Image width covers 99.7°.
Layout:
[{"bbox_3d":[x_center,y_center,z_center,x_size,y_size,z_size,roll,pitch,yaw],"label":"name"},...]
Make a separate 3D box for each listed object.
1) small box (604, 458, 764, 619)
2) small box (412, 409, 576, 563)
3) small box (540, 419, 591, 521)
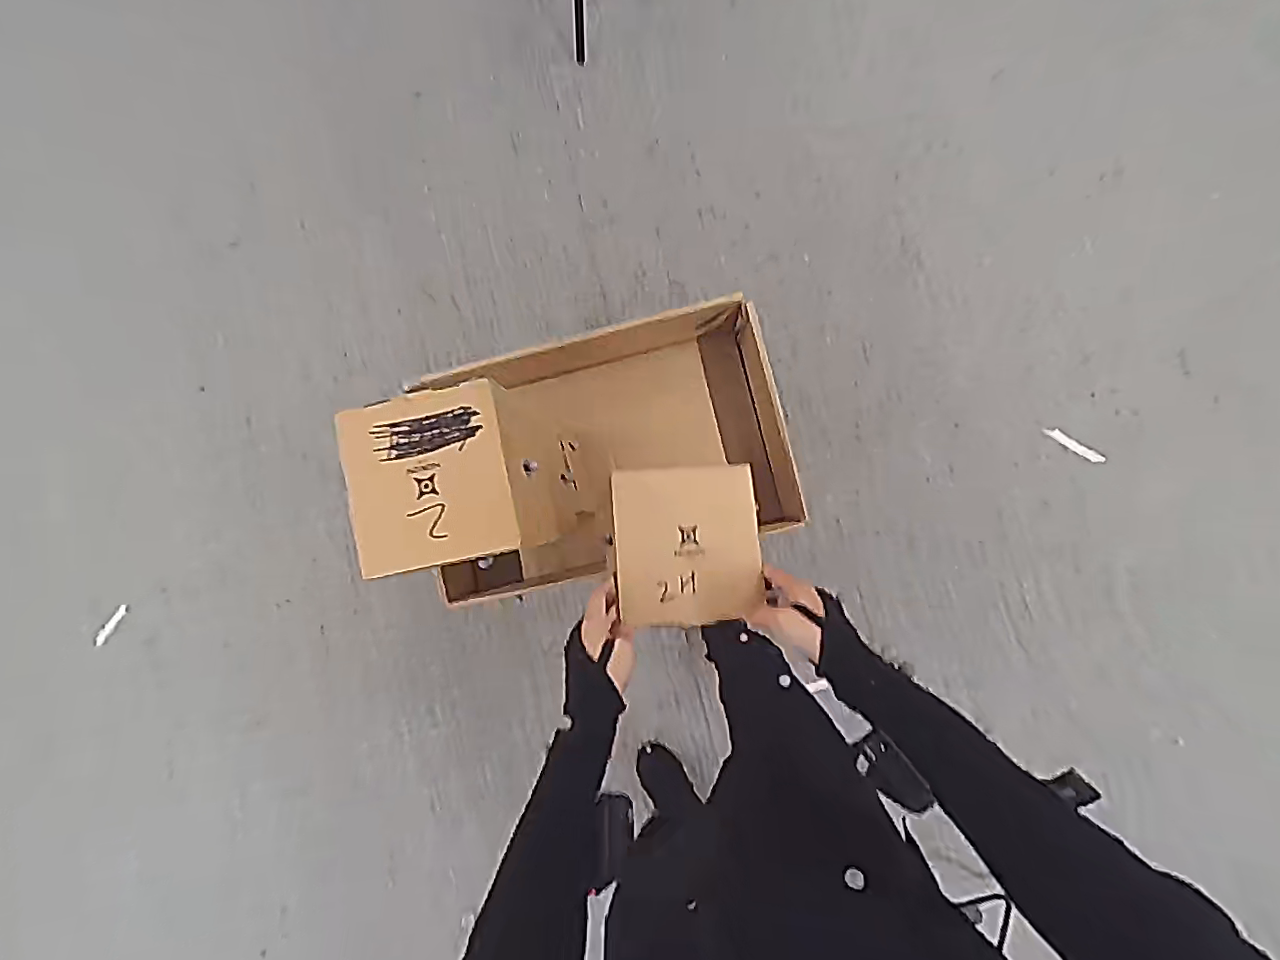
[{"bbox_3d":[0.044,0.078,0.686,0.168,0.176,0.179,-3,80,-7],"label":"small box"},{"bbox_3d":[-0.200,0.015,0.779,0.168,0.176,0.179,-13,84,3],"label":"small box"},{"bbox_3d":[-0.192,0.007,0.943,0.179,0.176,0.168,-19,85,3],"label":"small box"}]
